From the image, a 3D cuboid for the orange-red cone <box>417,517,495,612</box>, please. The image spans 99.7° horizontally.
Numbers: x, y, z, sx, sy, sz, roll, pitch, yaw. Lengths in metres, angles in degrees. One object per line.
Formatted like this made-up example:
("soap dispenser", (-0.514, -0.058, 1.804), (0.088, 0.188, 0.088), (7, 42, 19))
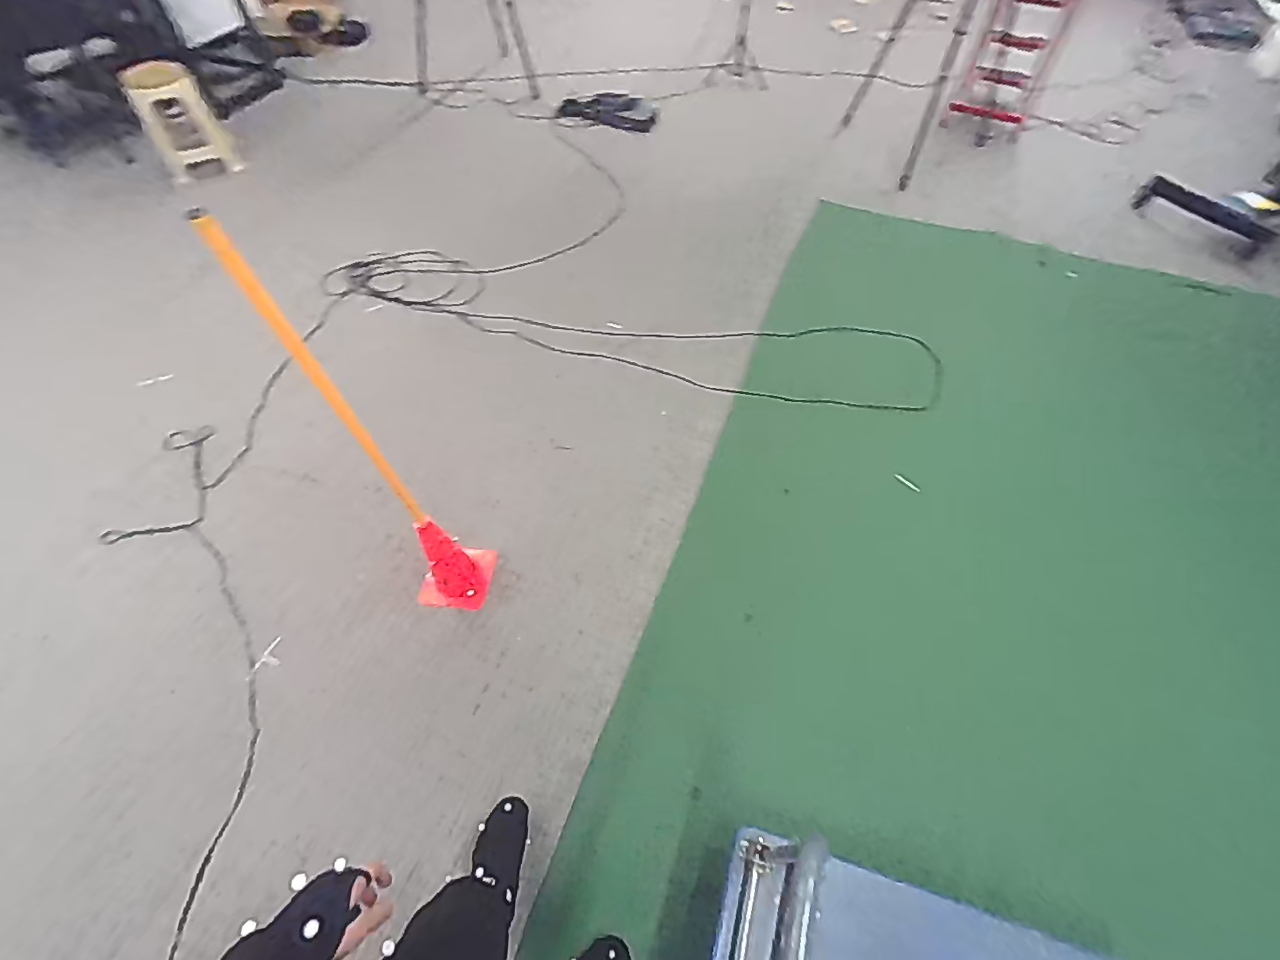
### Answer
("orange-red cone", (-0.568, 0.211, 1.556), (0.198, 0.360, 0.199), (6, 54, 3))
